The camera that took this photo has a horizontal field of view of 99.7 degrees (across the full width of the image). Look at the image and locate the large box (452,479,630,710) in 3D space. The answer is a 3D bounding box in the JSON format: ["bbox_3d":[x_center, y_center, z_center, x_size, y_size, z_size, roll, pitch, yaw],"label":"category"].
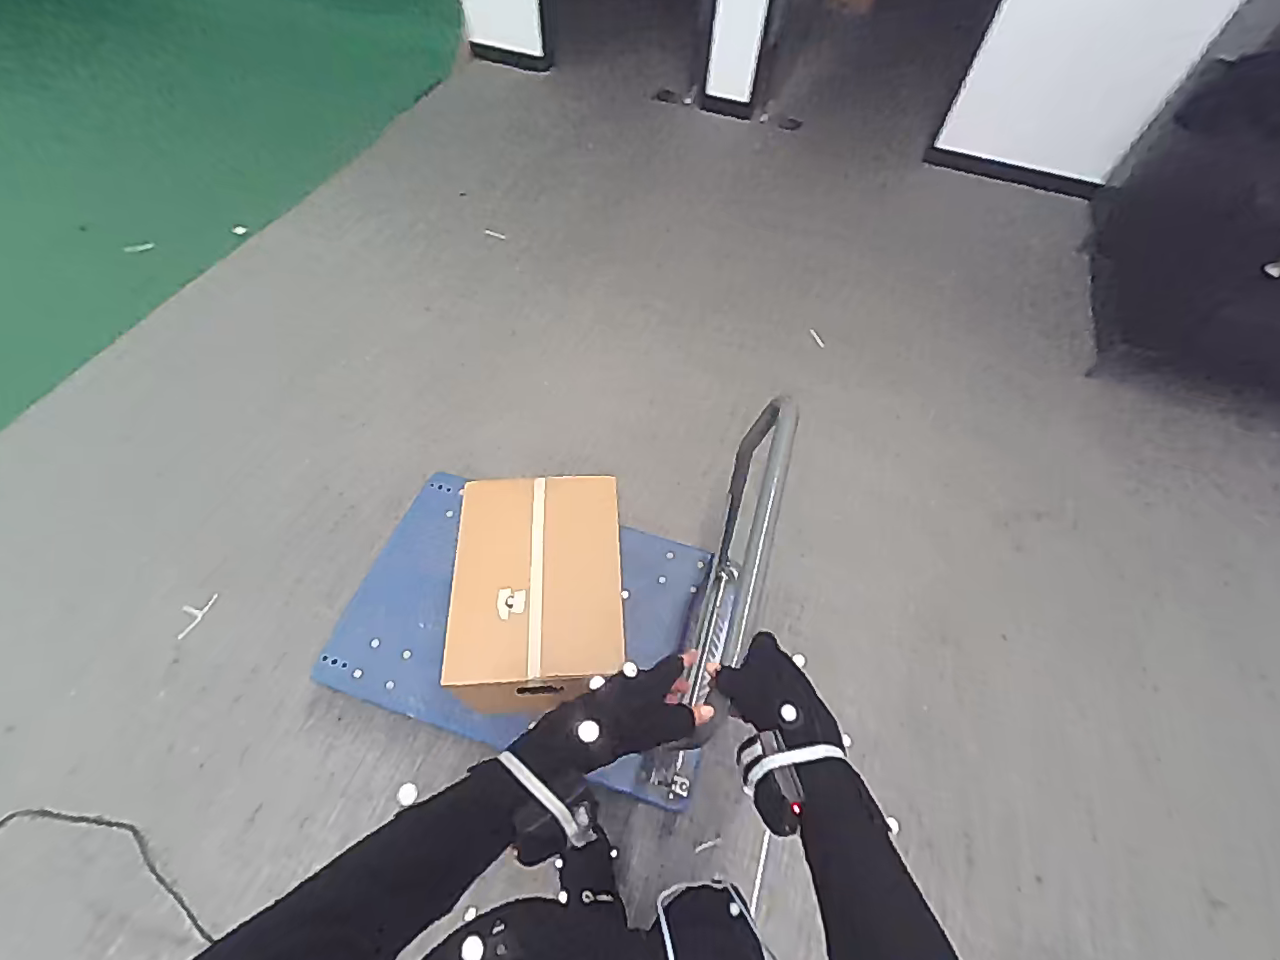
[{"bbox_3d":[-0.193,0.247,1.157,0.320,0.320,0.408,-2,59,-4],"label":"large box"}]
